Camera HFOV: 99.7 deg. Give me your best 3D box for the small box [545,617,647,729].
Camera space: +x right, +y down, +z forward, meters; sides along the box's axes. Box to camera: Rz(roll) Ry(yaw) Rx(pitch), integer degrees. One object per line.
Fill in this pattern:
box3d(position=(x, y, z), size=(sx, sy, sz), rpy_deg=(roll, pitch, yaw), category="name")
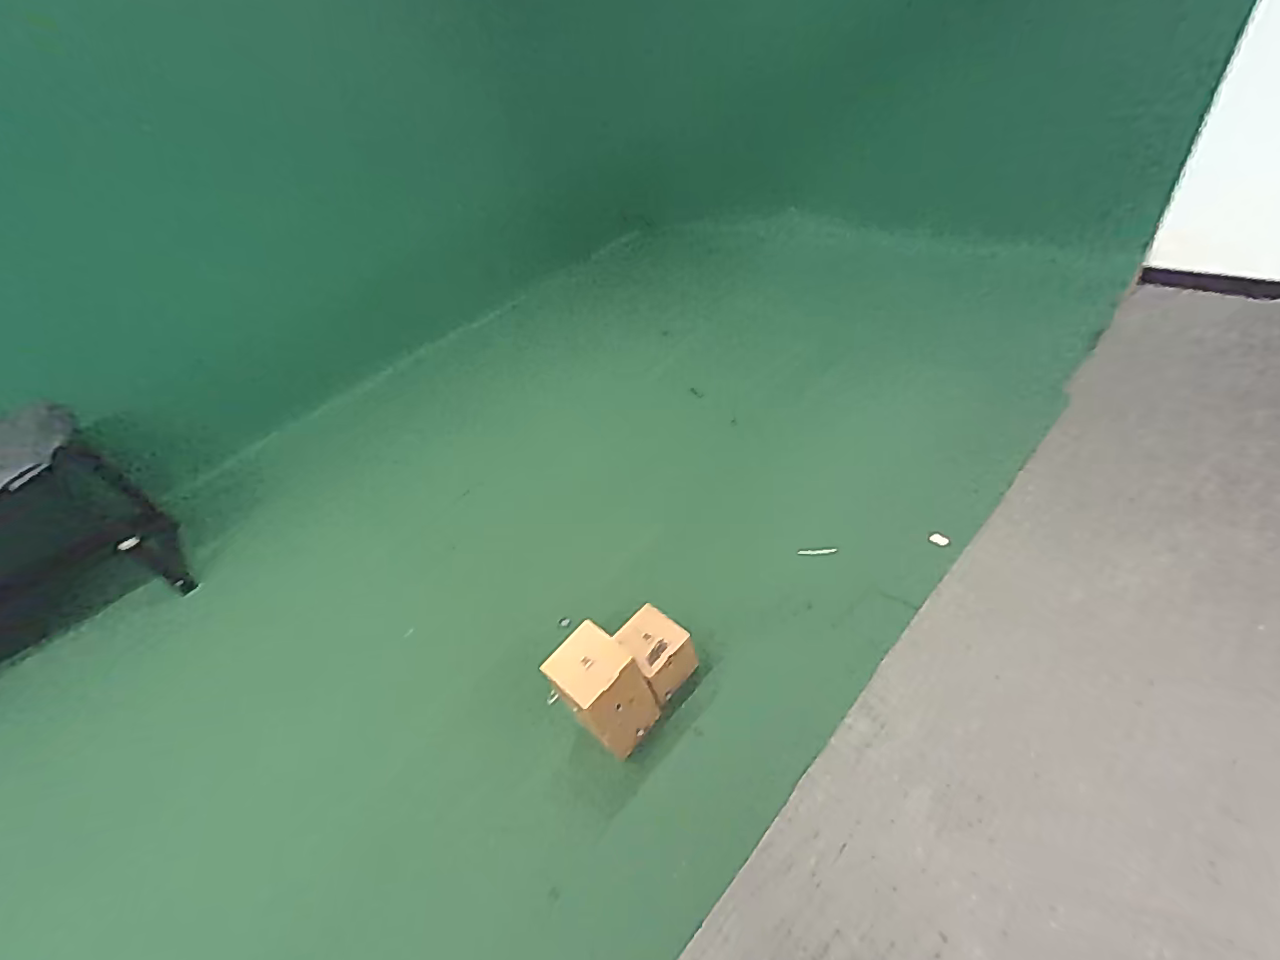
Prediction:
box3d(position=(-0.106, 0.489, 1.361), size=(0.179, 0.176, 0.168), rpy_deg=(27, 58, 36), category="small box")
